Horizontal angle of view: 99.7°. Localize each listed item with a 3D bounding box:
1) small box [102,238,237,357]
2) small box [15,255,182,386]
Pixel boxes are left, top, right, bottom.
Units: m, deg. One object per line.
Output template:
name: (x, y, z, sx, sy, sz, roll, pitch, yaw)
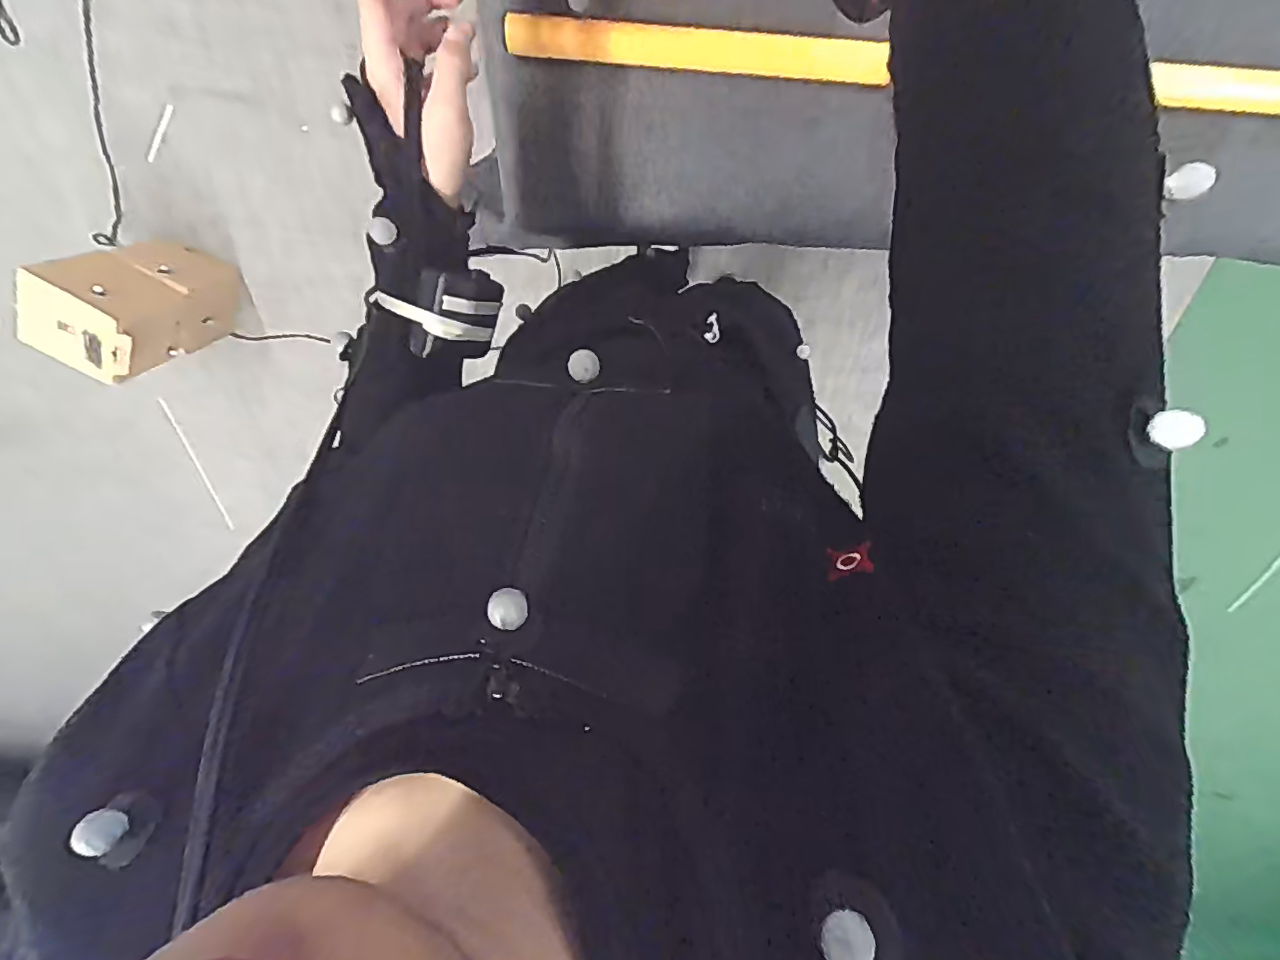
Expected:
small box: (-1.061, -0.419, 1.231, 0.168, 0.176, 0.179, 26, 122, -13)
small box: (-1.083, -0.329, 1.094, 0.179, 0.176, 0.168, 31, 120, -15)
